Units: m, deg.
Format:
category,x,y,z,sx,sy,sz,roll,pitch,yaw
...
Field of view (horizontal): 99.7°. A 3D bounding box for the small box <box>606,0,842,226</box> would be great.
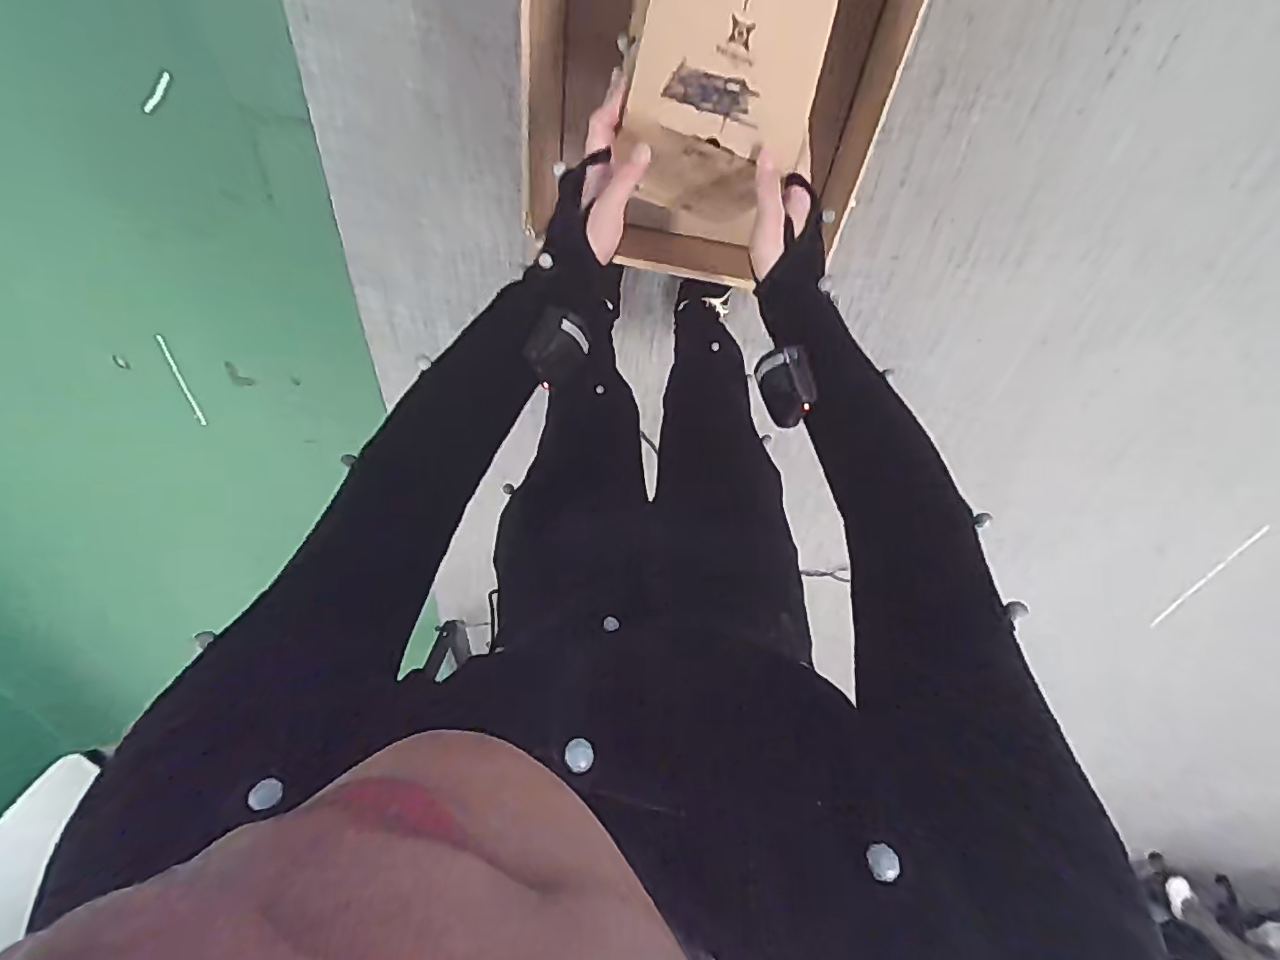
category,x,y,z,sx,sy,sz,roll,pitch,yaw
small box,0.067,-0.382,0.542,0.168,0.176,0.179,12,96,-14
